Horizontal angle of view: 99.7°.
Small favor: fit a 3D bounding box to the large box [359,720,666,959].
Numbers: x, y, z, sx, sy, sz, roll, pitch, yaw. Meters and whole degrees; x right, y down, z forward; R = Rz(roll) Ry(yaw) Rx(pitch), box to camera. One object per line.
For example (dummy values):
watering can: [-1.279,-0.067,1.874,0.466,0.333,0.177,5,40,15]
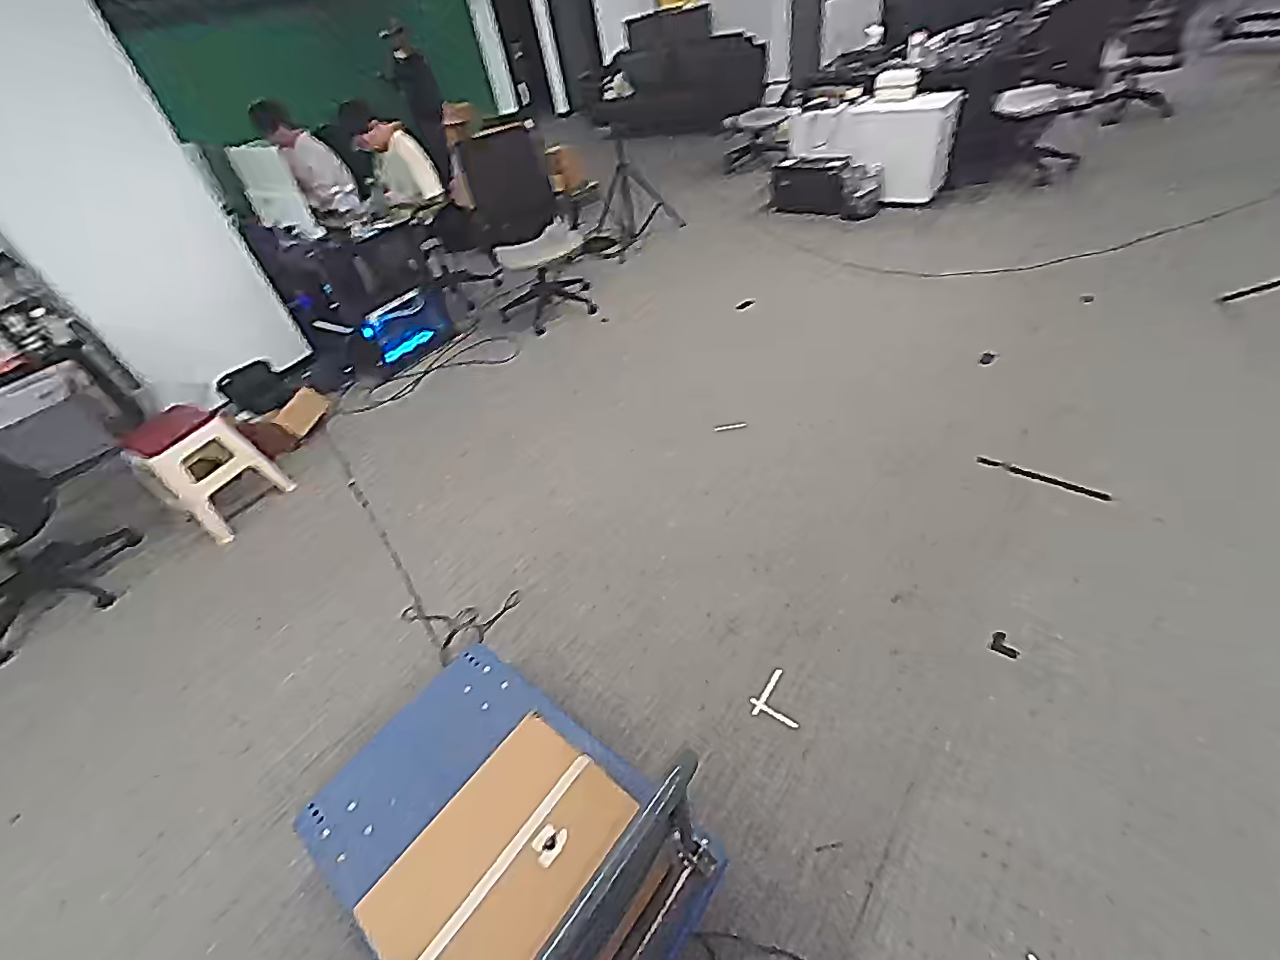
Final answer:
large box: [-0.202,0.755,0.995,0.320,0.320,0.408,24,52,33]
